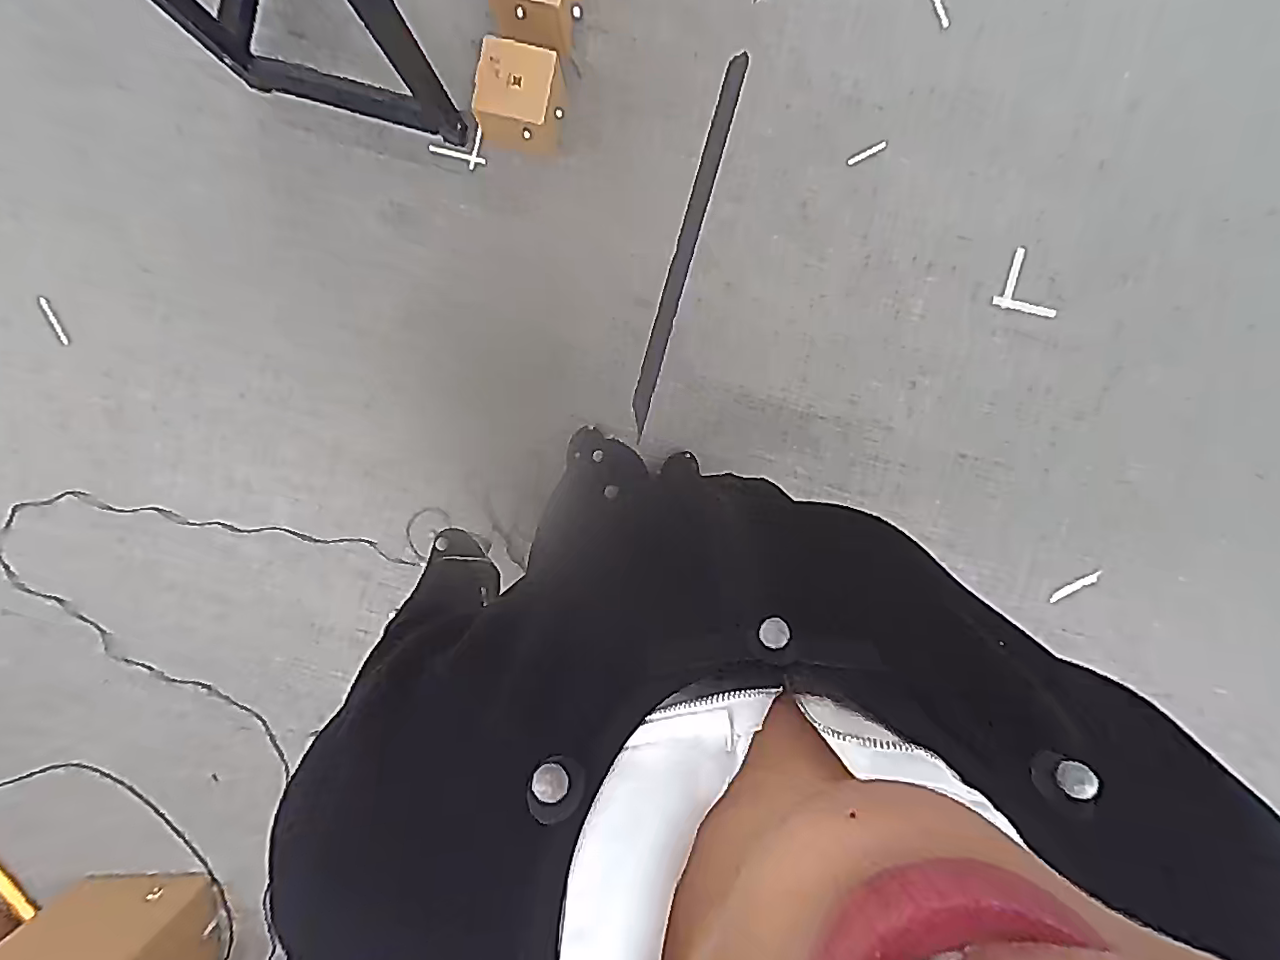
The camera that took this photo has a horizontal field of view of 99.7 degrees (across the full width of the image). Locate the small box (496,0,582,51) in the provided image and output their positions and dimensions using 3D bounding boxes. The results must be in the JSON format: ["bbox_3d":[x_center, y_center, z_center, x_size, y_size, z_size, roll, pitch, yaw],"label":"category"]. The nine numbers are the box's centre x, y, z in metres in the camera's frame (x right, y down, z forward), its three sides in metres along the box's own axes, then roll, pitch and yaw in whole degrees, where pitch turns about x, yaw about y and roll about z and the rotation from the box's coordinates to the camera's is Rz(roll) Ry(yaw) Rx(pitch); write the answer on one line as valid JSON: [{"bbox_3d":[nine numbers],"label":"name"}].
[{"bbox_3d":[-0.247,-1.189,1.302,0.179,0.176,0.168,14,96,-2],"label":"small box"}]
